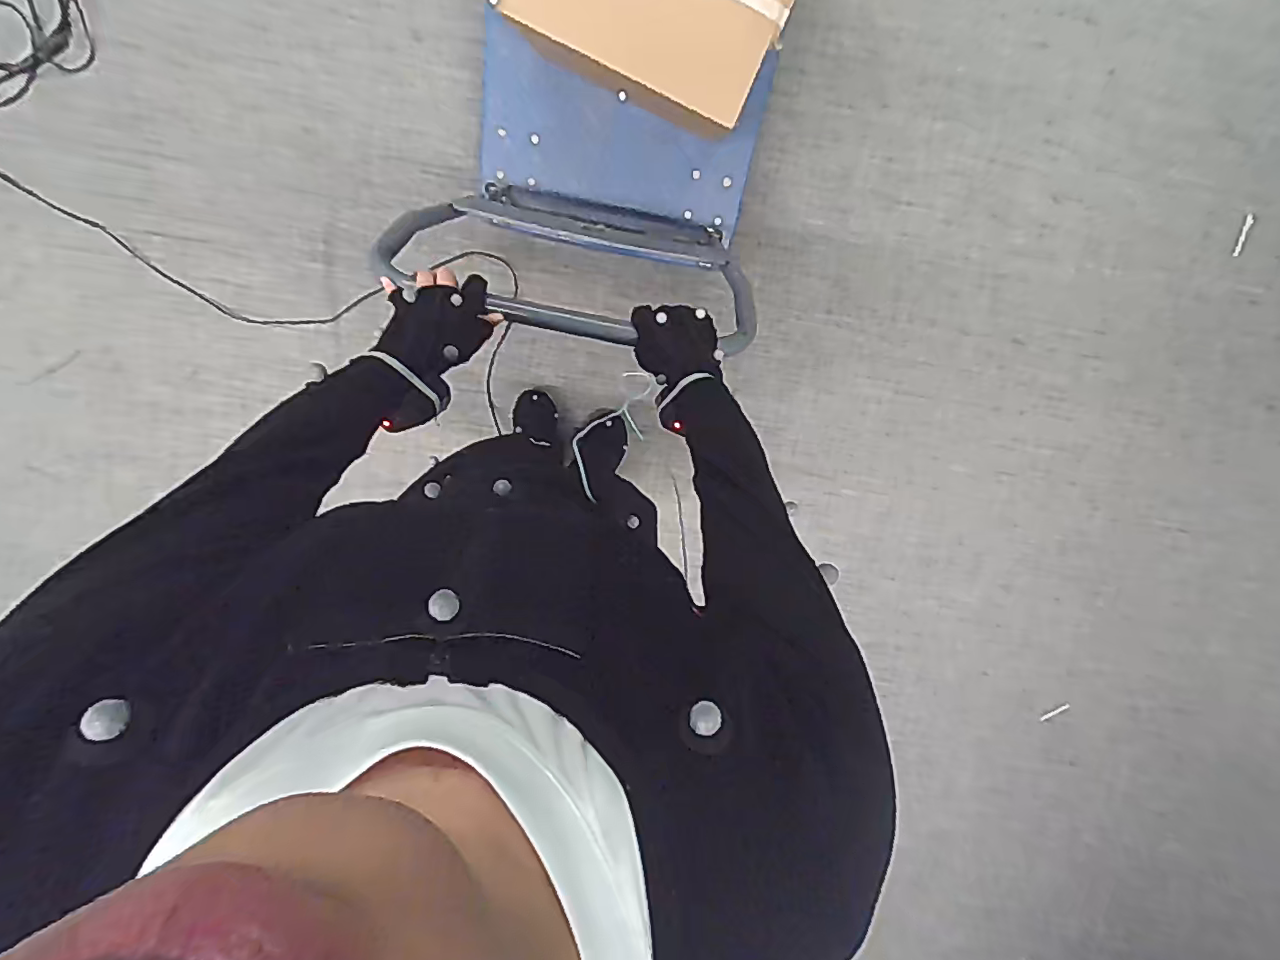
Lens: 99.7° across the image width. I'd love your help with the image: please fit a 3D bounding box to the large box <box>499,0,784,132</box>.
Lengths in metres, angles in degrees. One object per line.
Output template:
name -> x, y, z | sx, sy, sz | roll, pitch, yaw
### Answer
large box -> 0.033, -0.840, 0.908 | 0.408, 0.320, 0.320 | 22, 118, -9
